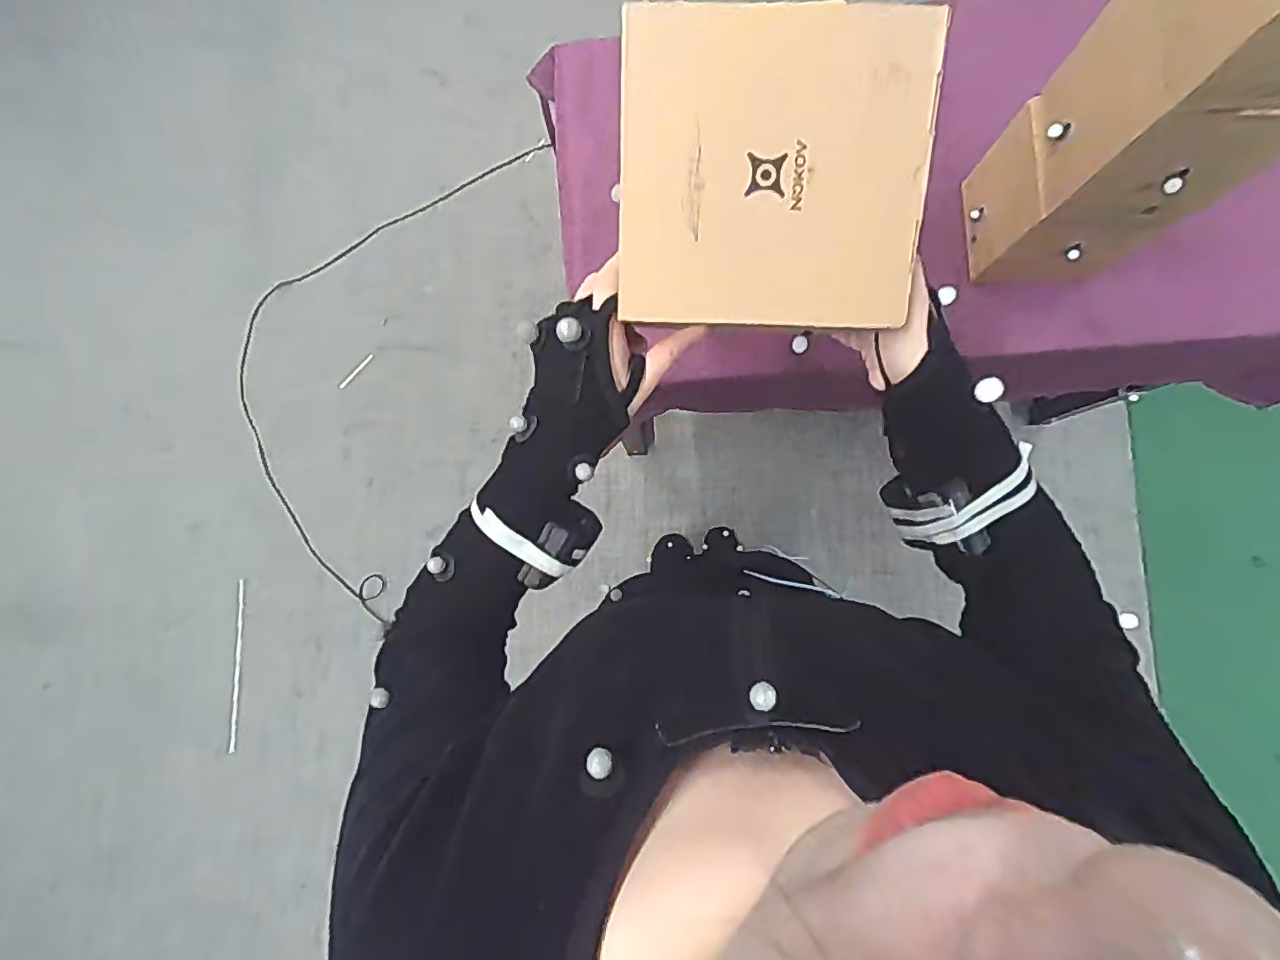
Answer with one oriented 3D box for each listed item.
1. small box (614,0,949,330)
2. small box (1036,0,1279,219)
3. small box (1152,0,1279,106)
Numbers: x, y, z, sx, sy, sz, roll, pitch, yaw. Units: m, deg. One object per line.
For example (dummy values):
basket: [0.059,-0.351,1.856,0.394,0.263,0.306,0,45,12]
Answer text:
small box: [0.078,-0.196,0.385,0.179,0.176,0.168,3,104,2]
small box: [0.565,-0.407,0.583,0.168,0.176,0.179,2,84,4]
small box: [0.553,-0.426,0.419,0.168,0.176,0.179,1,82,4]
